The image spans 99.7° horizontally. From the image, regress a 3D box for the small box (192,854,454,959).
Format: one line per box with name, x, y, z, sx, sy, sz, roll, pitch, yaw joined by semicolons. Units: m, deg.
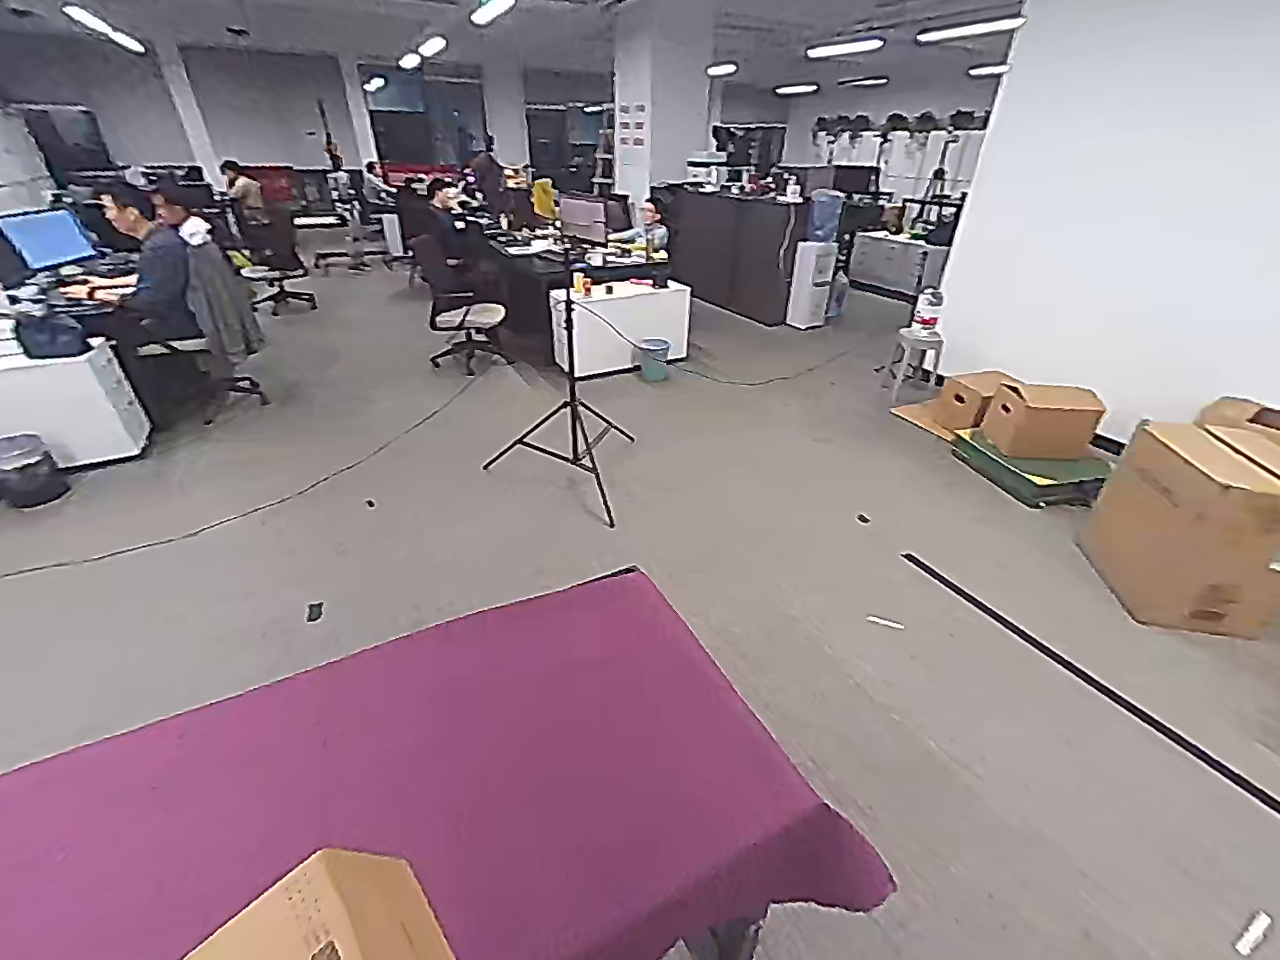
small box;-0.223;0.389;0.362;0.176;0.179;0.168;-34;59;-24
